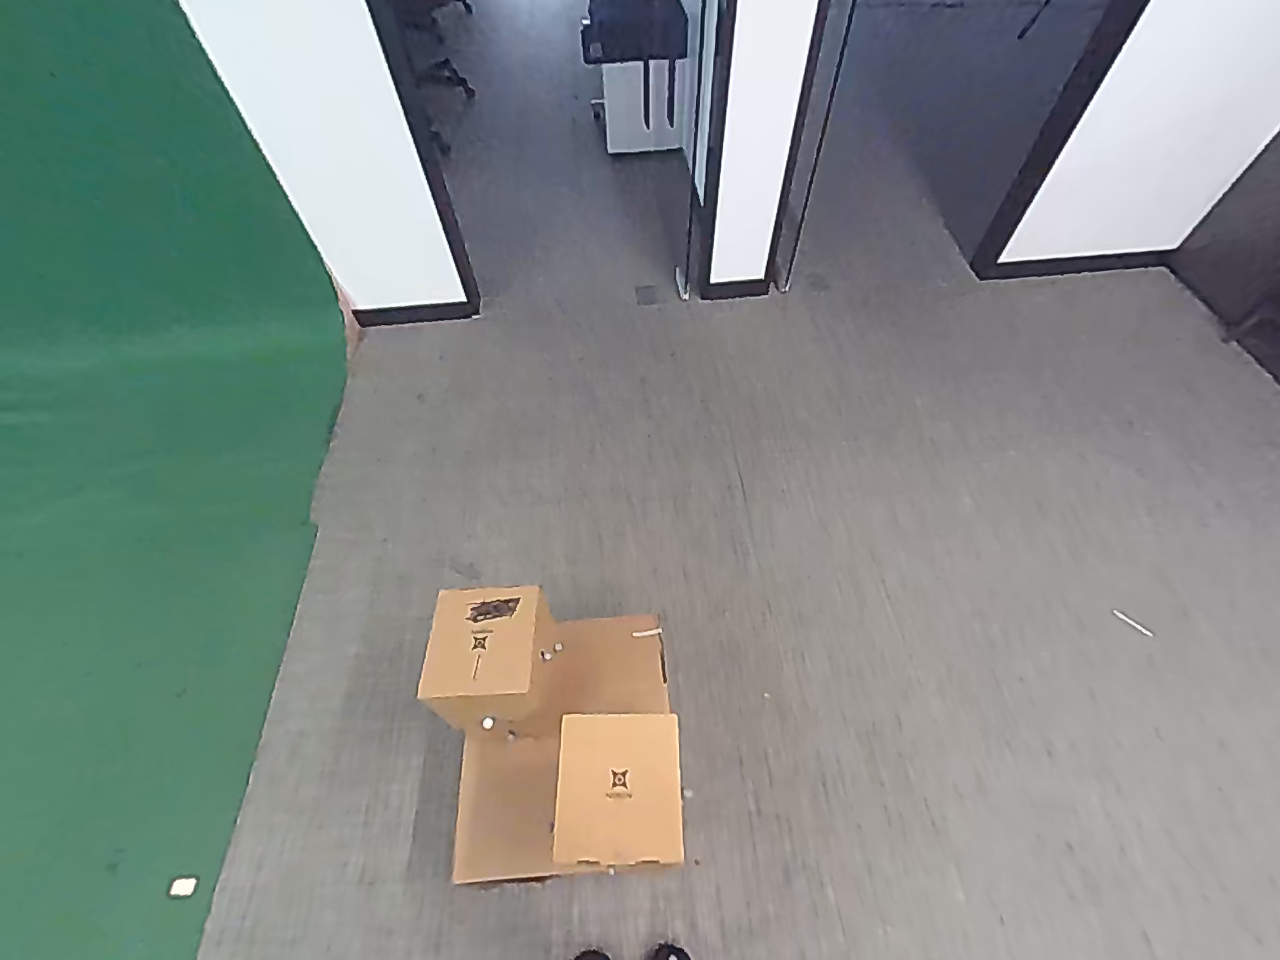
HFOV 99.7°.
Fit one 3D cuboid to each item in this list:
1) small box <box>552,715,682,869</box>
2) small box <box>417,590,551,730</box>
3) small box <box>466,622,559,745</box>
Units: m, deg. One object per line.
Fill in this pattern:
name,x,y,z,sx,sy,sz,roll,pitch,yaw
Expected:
small box,-0.030,0.454,0.784,0.168,0.176,0.179,-1,54,-1
small box,-0.245,0.301,0.900,0.168,0.176,0.179,-3,52,0
small box,-0.250,0.391,1.039,0.168,0.176,0.179,-5,52,-1
